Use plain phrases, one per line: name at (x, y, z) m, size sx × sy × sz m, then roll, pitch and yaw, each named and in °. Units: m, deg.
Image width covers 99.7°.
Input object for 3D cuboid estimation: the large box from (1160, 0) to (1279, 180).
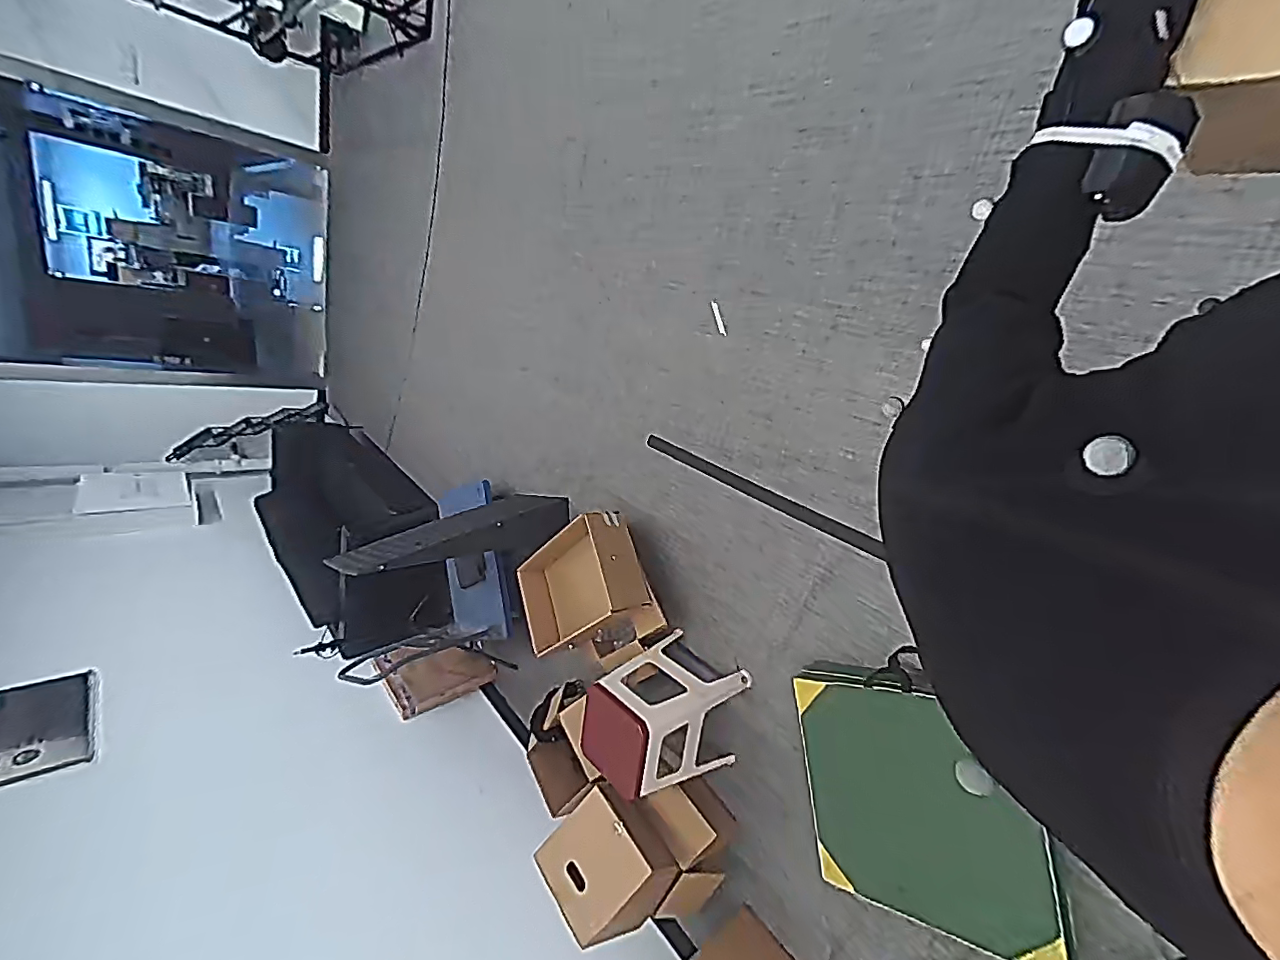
large box at (0.625, -0.384, 0.307) m, size 0.408 × 0.320 × 0.320 m, roll 24°, pitch 118°, yaw 42°
